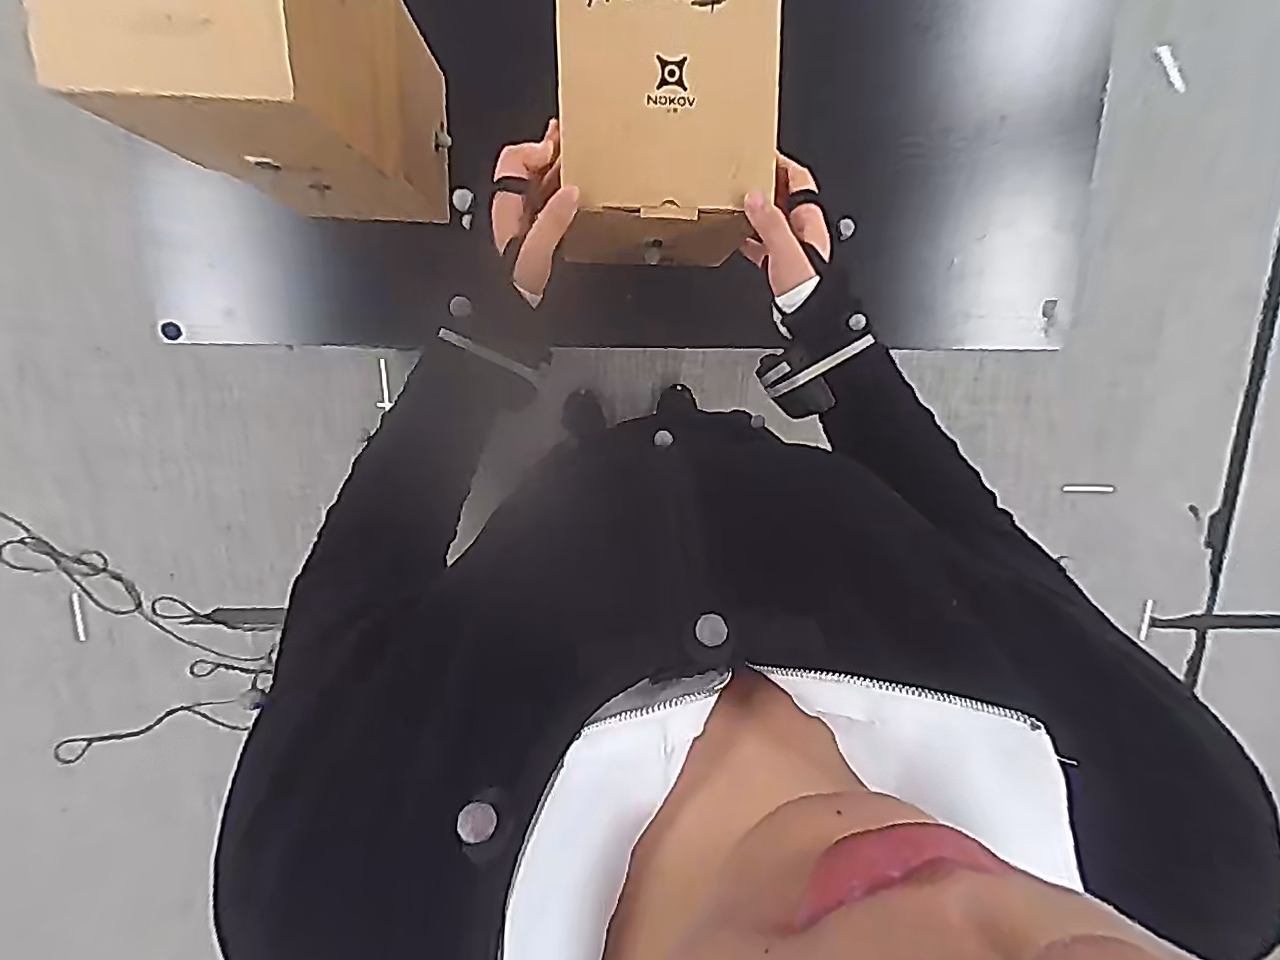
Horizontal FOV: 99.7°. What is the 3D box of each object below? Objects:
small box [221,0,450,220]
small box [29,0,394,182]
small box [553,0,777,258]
[{"bbox_3d":[-0.318,-0.391,0.581,0.179,0.176,0.168,1,101,-5],"label":"small box"},{"bbox_3d":[-0.311,-0.358,0.422,0.168,0.176,0.179,0,102,-2],"label":"small box"},{"bbox_3d":[0.012,-0.305,0.479,0.168,0.176,0.179,-1,100,-6],"label":"small box"}]
